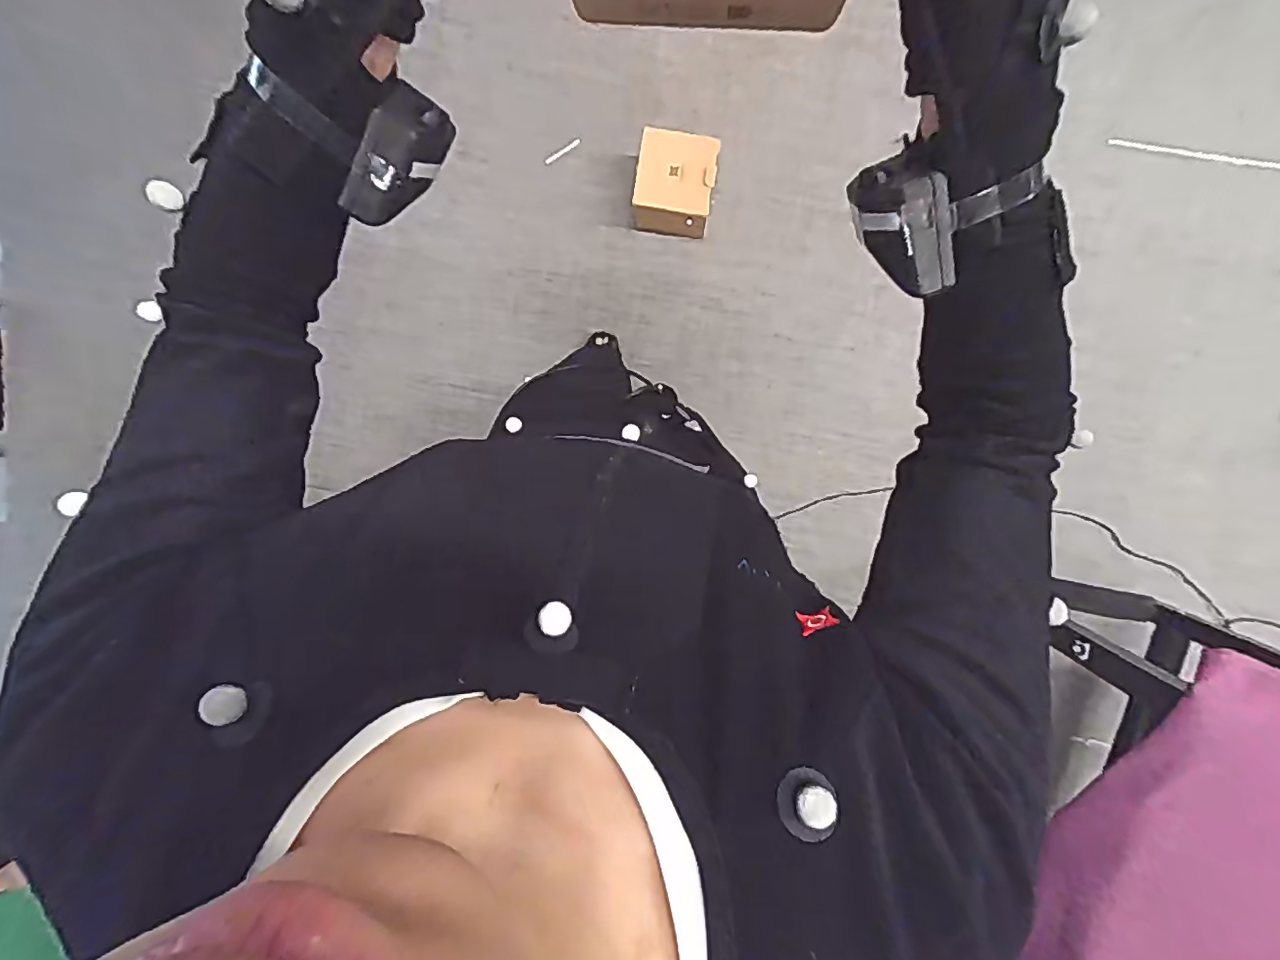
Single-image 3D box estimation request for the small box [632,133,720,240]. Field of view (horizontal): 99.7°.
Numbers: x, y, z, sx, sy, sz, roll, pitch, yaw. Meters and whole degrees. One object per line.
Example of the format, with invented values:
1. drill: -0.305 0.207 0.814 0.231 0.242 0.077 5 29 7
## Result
1. small box: 0.084 -0.691 1.290 0.179 0.176 0.168 10 98 1
